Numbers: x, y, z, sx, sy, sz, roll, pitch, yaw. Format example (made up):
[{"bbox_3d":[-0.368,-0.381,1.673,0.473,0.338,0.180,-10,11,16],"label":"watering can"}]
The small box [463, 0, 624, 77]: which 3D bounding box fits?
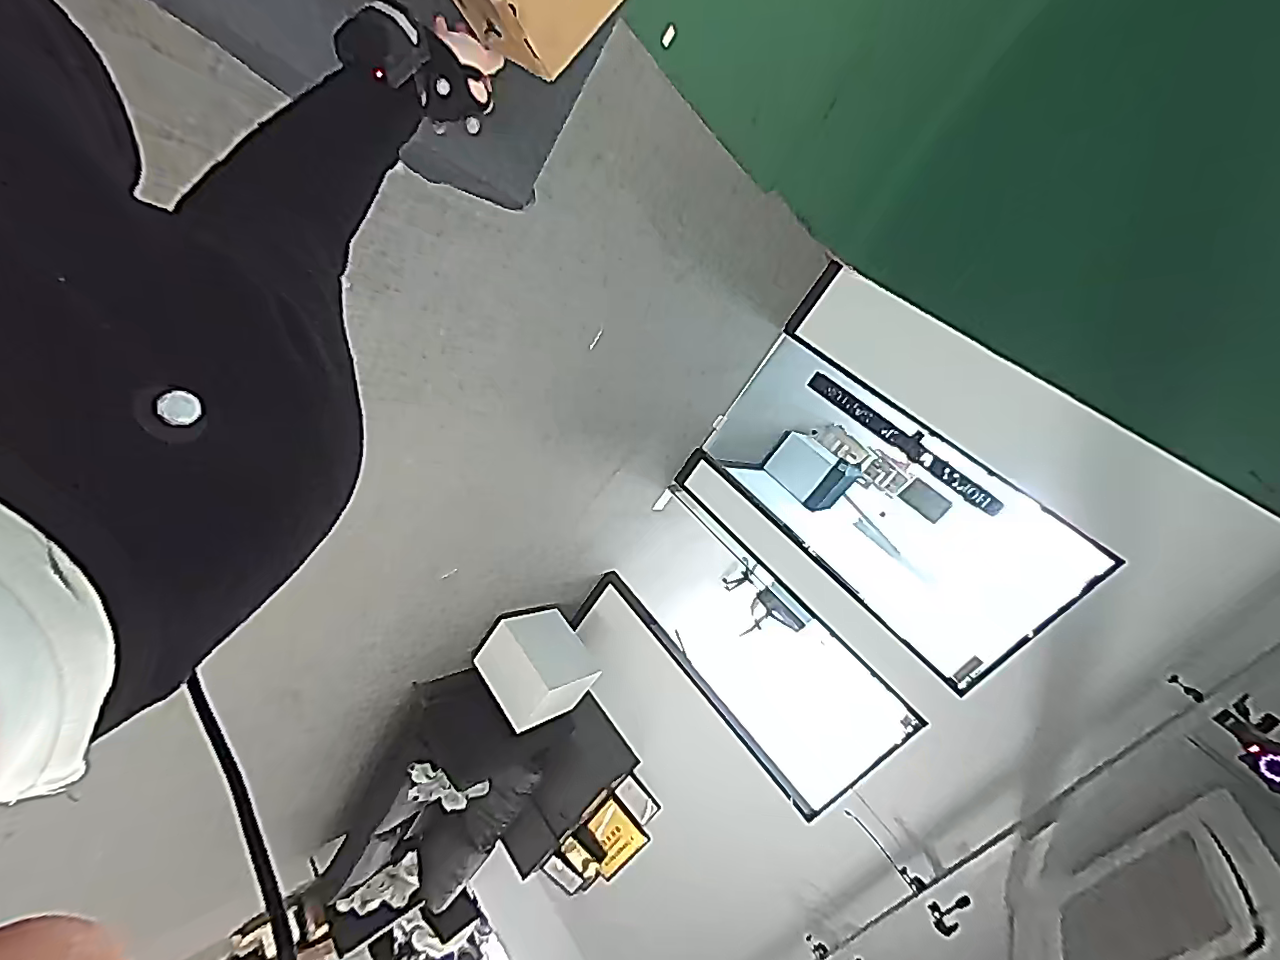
[{"bbox_3d":[-0.124,-0.606,0.595,0.179,0.176,0.168,-47,154,5],"label":"small box"}]
